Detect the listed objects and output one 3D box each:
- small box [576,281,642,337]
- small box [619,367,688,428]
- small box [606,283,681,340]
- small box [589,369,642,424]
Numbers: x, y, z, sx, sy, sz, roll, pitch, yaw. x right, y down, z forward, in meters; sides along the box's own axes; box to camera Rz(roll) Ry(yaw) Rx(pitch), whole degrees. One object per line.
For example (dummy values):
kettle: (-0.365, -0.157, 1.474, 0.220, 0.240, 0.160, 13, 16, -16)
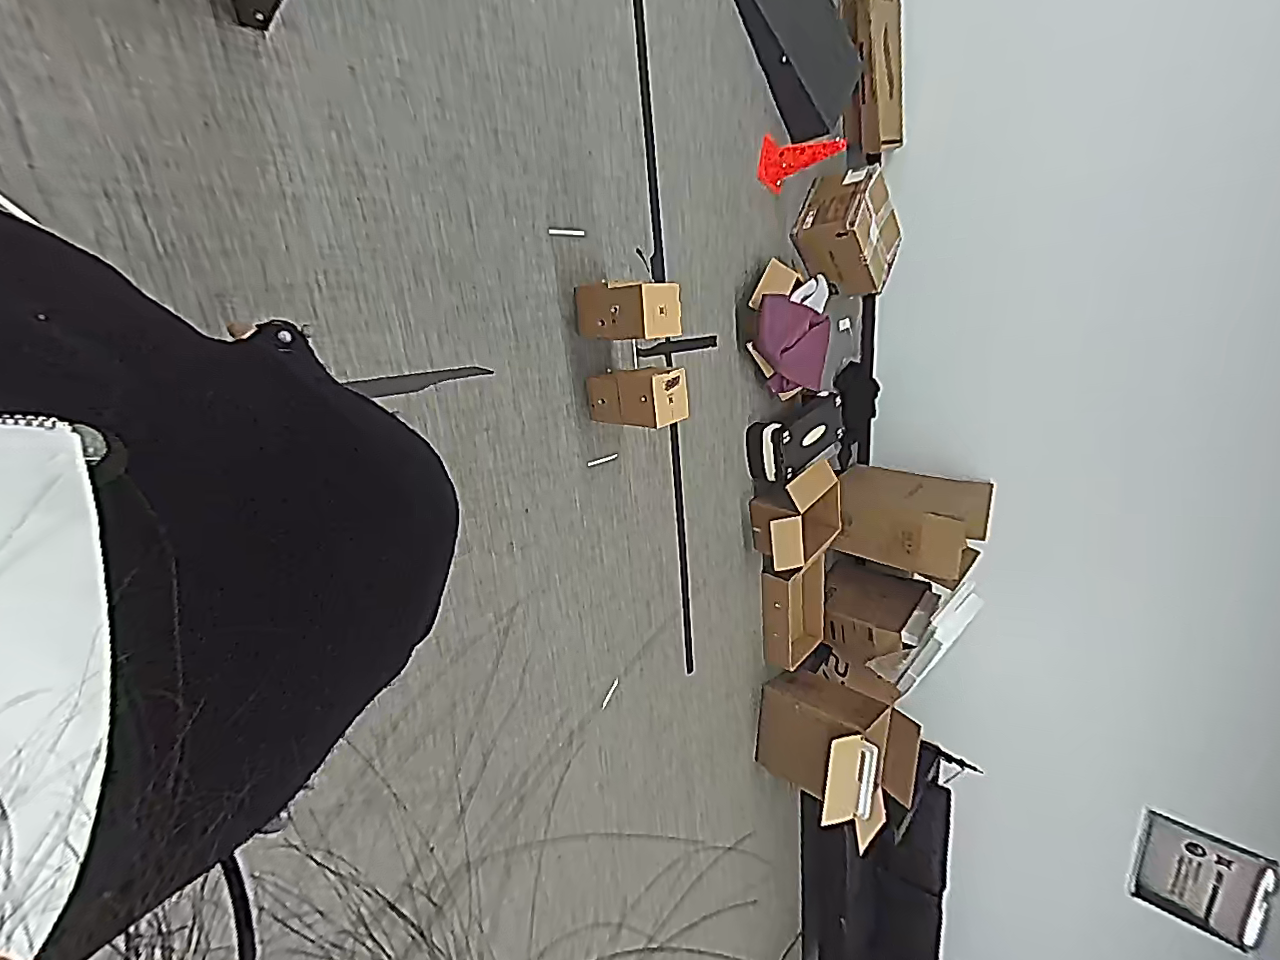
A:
small box: (-0.103, -0.587, 1.863, 0.168, 0.176, 0.179, -21, 113, -42)
small box: (0.044, -0.287, 1.845, 0.168, 0.176, 0.179, -25, 117, -41)
small box: (0.012, -0.546, 1.755, 0.179, 0.176, 0.168, -20, 112, -41)
small box: (-0.071, -0.308, 1.963, 0.179, 0.176, 0.168, -24, 116, -40)
